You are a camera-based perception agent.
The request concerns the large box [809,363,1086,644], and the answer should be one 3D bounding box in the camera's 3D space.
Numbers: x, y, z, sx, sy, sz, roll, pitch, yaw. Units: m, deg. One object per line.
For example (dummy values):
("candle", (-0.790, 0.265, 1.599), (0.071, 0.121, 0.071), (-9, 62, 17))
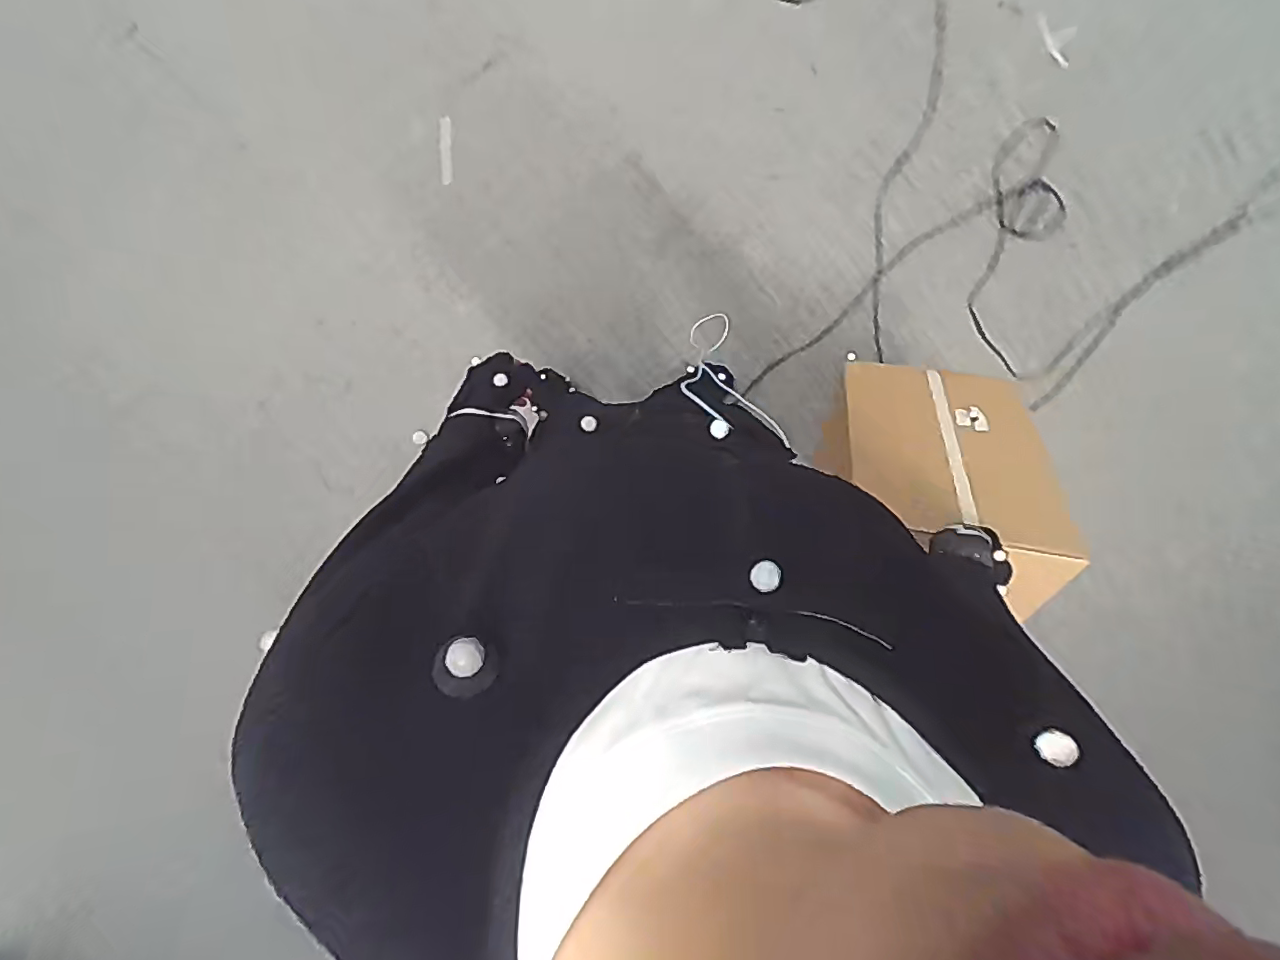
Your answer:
("large box", (0.502, 0.036, 0.999), (0.320, 0.408, 0.320), (8, 137, 8))
